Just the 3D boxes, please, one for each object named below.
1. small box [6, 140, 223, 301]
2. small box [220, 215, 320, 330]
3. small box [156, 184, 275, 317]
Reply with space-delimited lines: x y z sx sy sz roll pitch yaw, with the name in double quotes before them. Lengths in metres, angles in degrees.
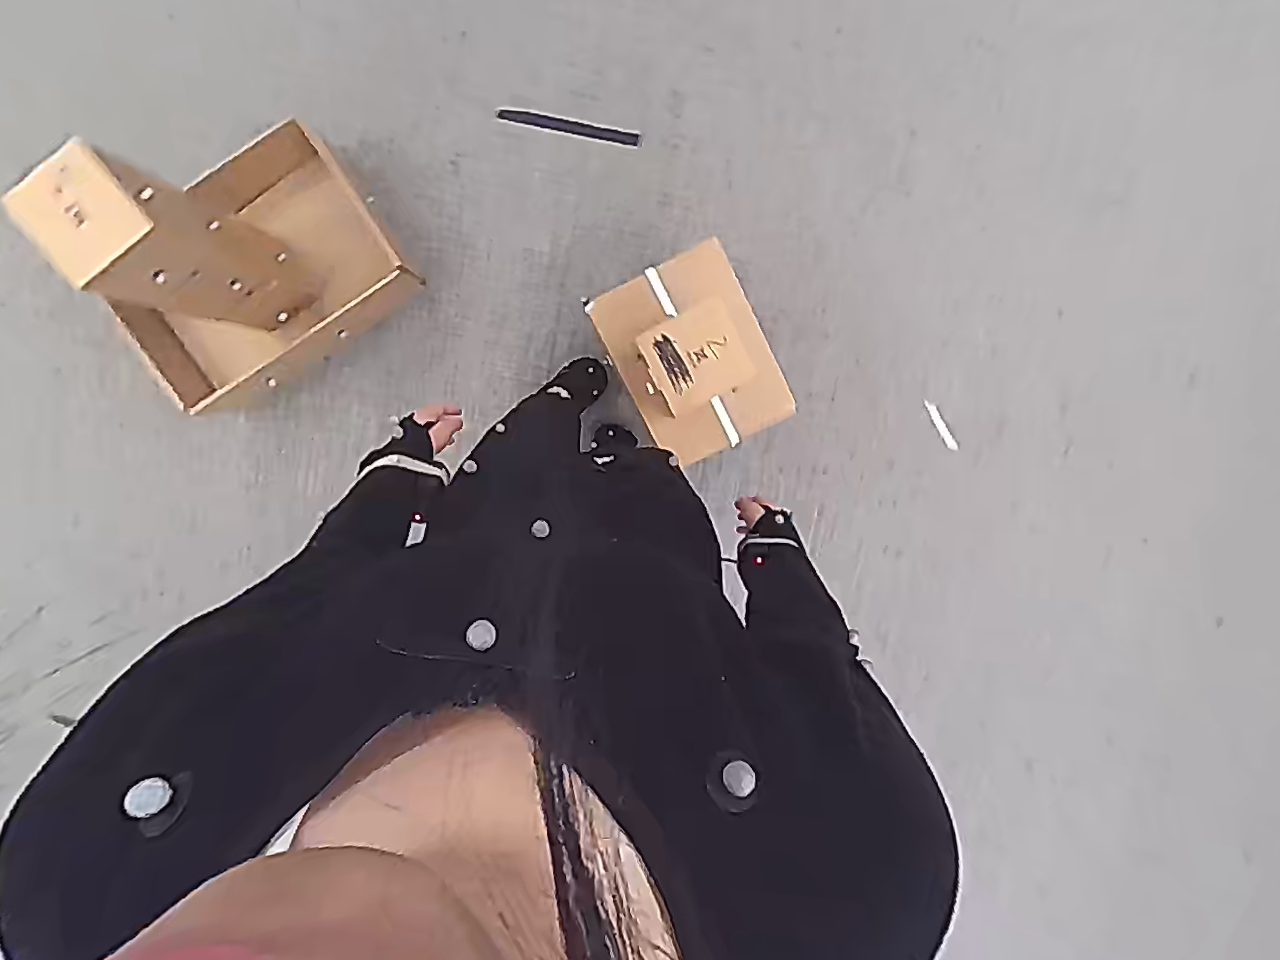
"small box" -0.899 -0.436 0.949 0.168 0.176 0.179 -37 97 1
"small box" -0.909 -0.477 1.274 0.168 0.176 0.179 -32 98 3
"small box" -0.910 -0.455 1.113 0.168 0.176 0.179 -37 96 2
